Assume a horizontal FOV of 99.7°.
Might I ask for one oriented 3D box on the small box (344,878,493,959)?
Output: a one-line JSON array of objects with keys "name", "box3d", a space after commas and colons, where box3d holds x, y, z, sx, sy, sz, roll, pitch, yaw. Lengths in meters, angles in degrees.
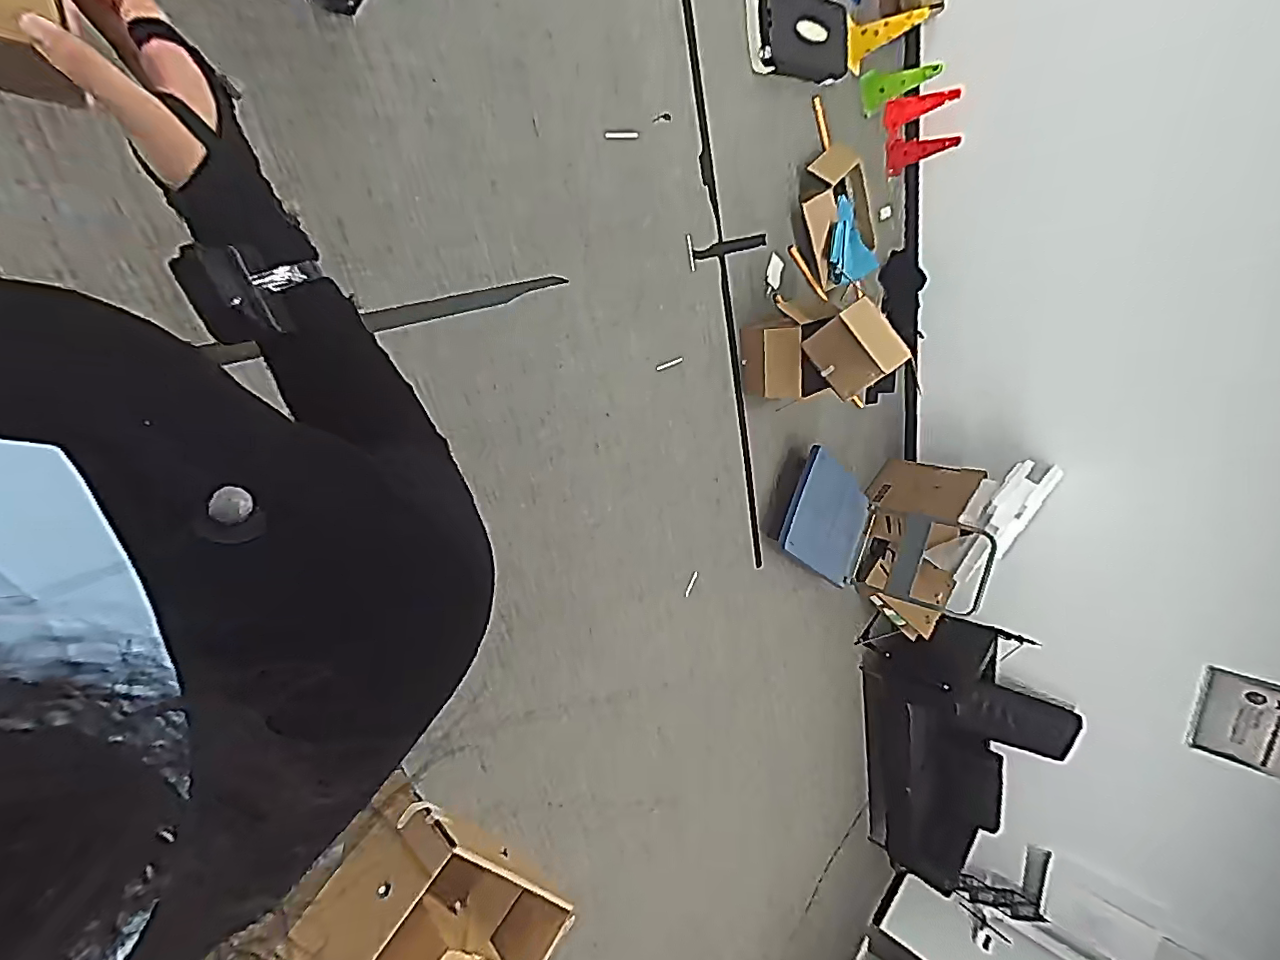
[{"name": "small box", "box3d": [-0.379, 0.840, 0.921, 0.179, 0.176, 0.168, -49, 128, -25]}]
